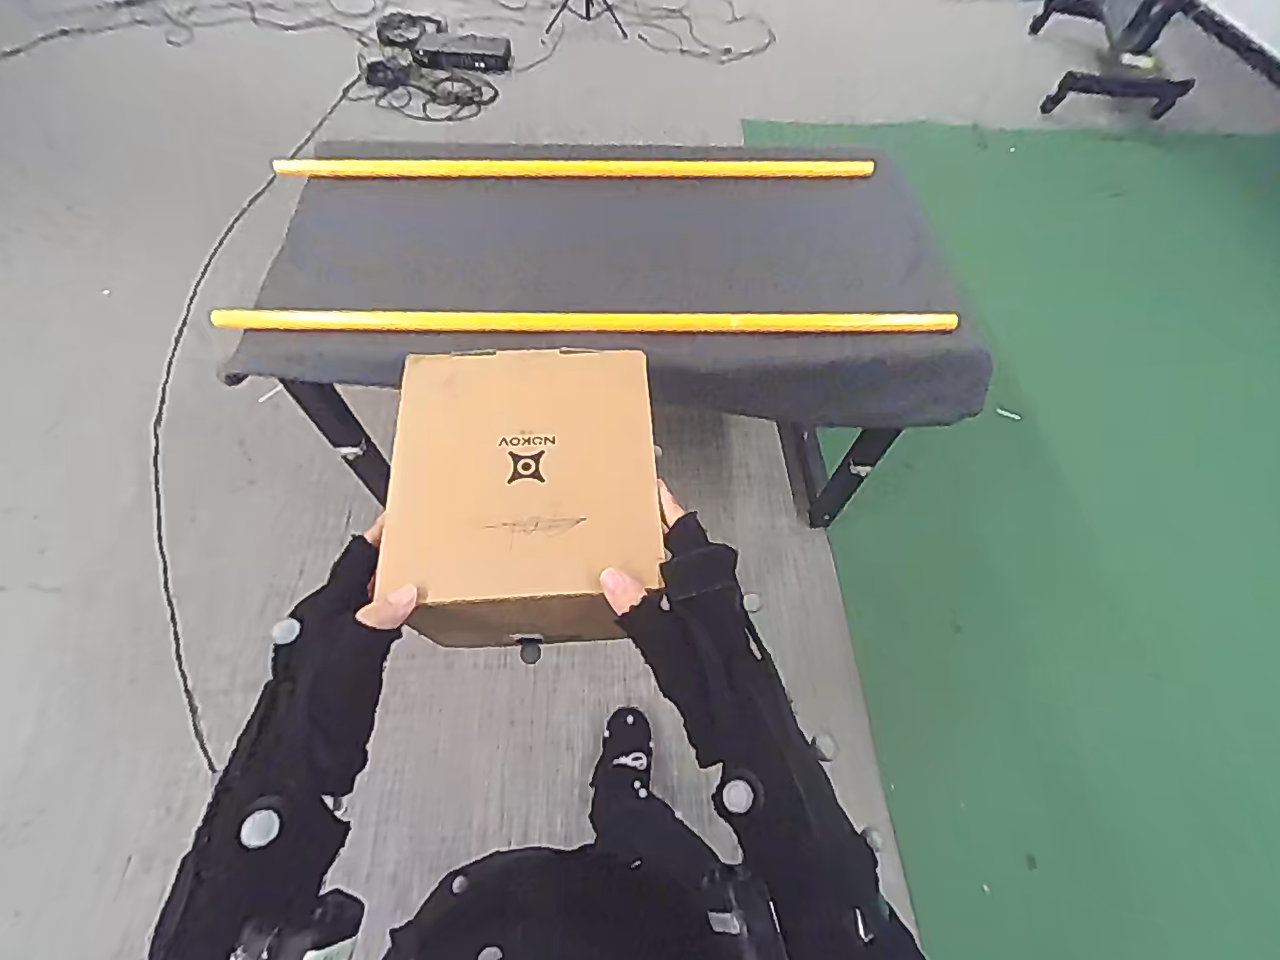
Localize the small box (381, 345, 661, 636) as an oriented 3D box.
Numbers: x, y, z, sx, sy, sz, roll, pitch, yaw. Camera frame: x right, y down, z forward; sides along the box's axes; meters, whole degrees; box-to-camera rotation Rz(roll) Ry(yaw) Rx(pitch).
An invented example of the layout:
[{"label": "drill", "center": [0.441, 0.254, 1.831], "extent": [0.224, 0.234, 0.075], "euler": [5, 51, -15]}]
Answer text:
[{"label": "small box", "center": [-0.079, 0.016, 0.424], "extent": [0.168, 0.176, 0.179], "euler": [-2, 65, -5]}]
